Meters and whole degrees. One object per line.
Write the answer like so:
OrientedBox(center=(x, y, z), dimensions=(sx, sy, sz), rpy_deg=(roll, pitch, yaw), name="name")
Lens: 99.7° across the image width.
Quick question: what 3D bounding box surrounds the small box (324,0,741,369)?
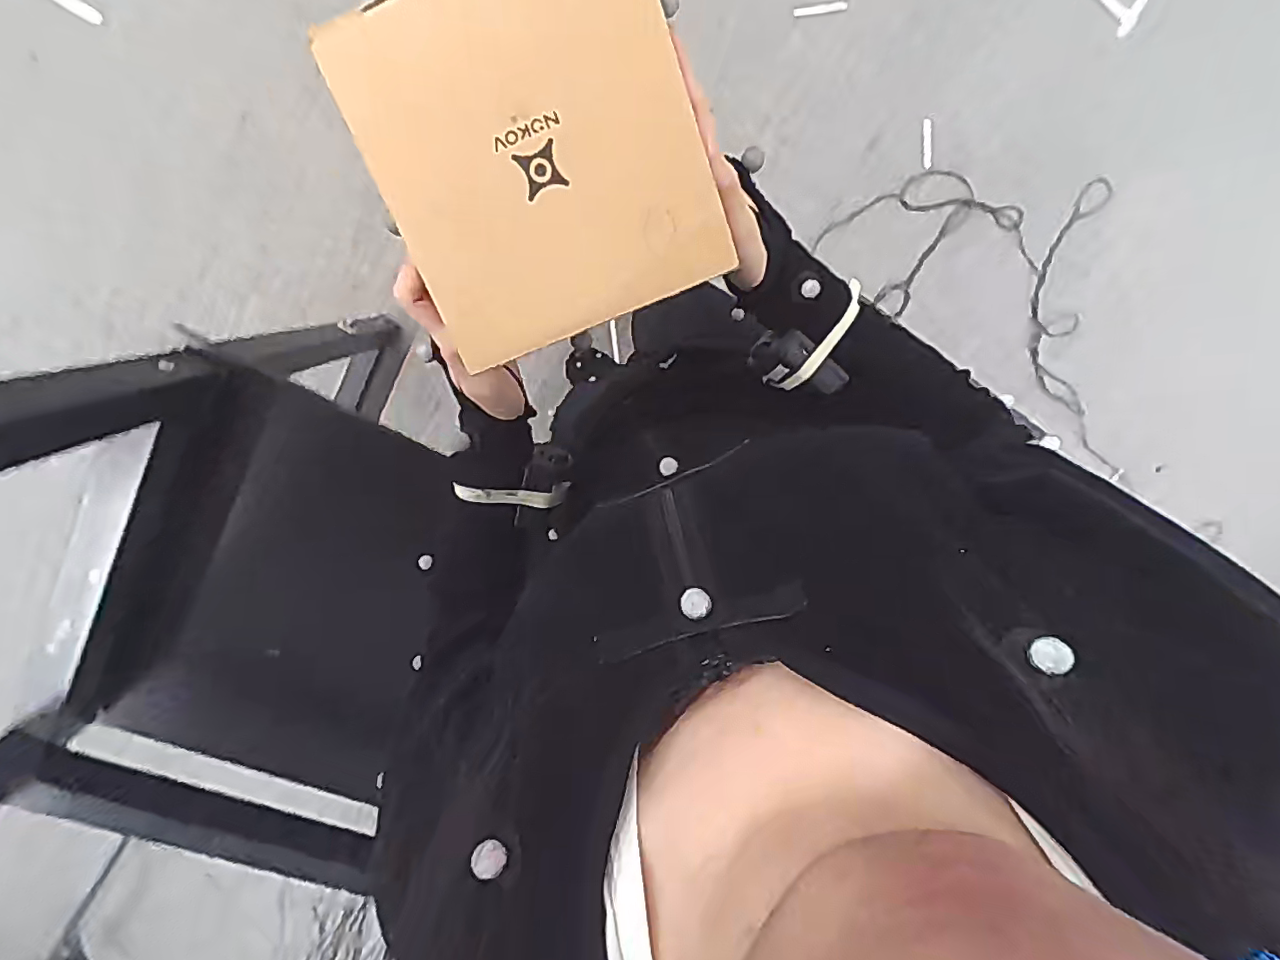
OrientedBox(center=(-0.048, -0.192, 0.352), dimensions=(0.168, 0.176, 0.179), rpy_deg=(-20, 108, 5), name="small box")
